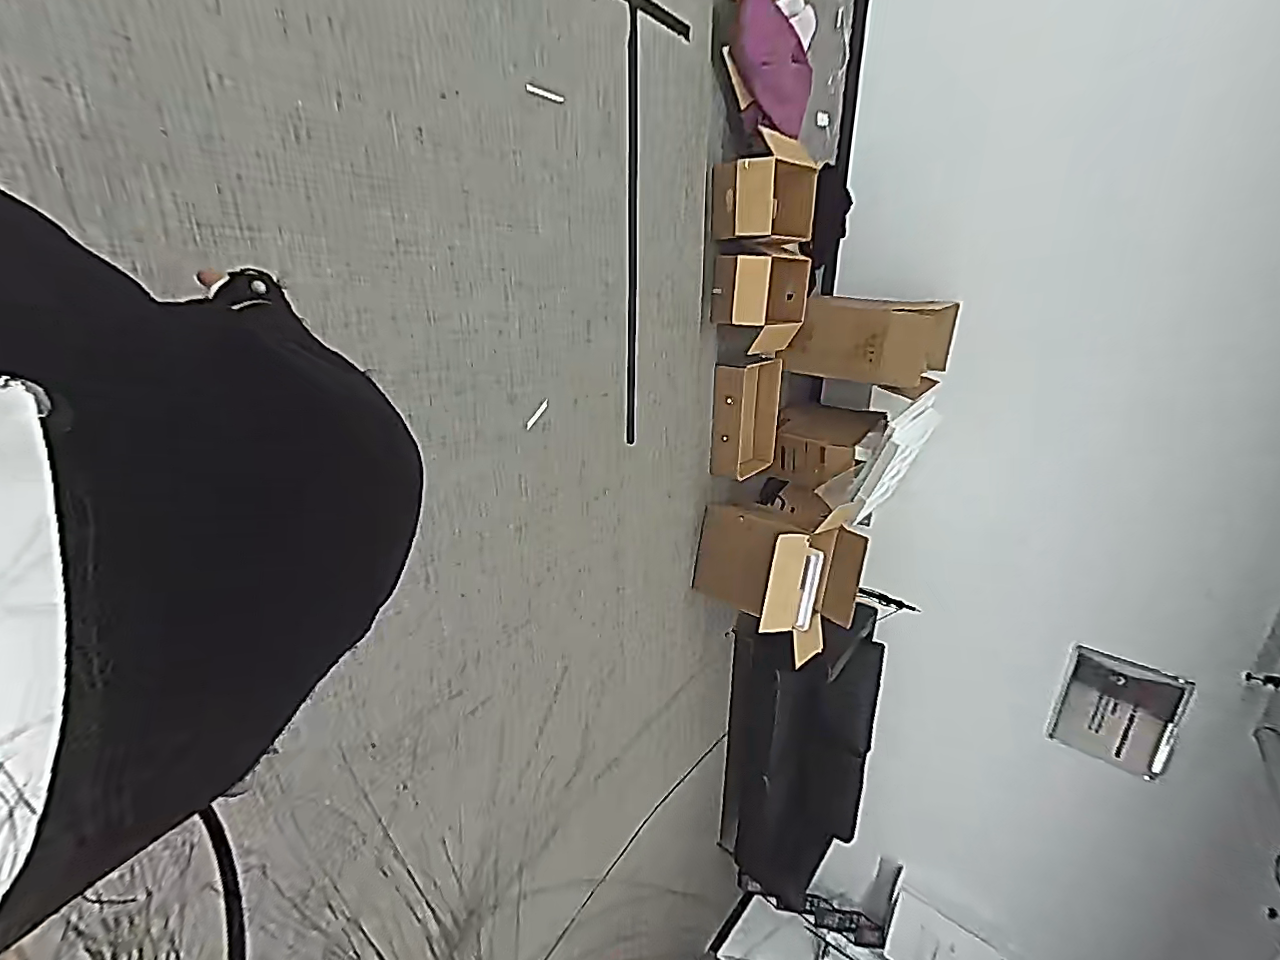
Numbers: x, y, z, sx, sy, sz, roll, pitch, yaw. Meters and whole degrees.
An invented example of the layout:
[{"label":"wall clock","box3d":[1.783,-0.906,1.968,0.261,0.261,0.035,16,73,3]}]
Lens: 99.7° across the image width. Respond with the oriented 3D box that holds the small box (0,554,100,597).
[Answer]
[{"label":"small box","box3d":[-1.066,0.243,0.950,0.168,0.176,0.179,-19,117,-47]}]
